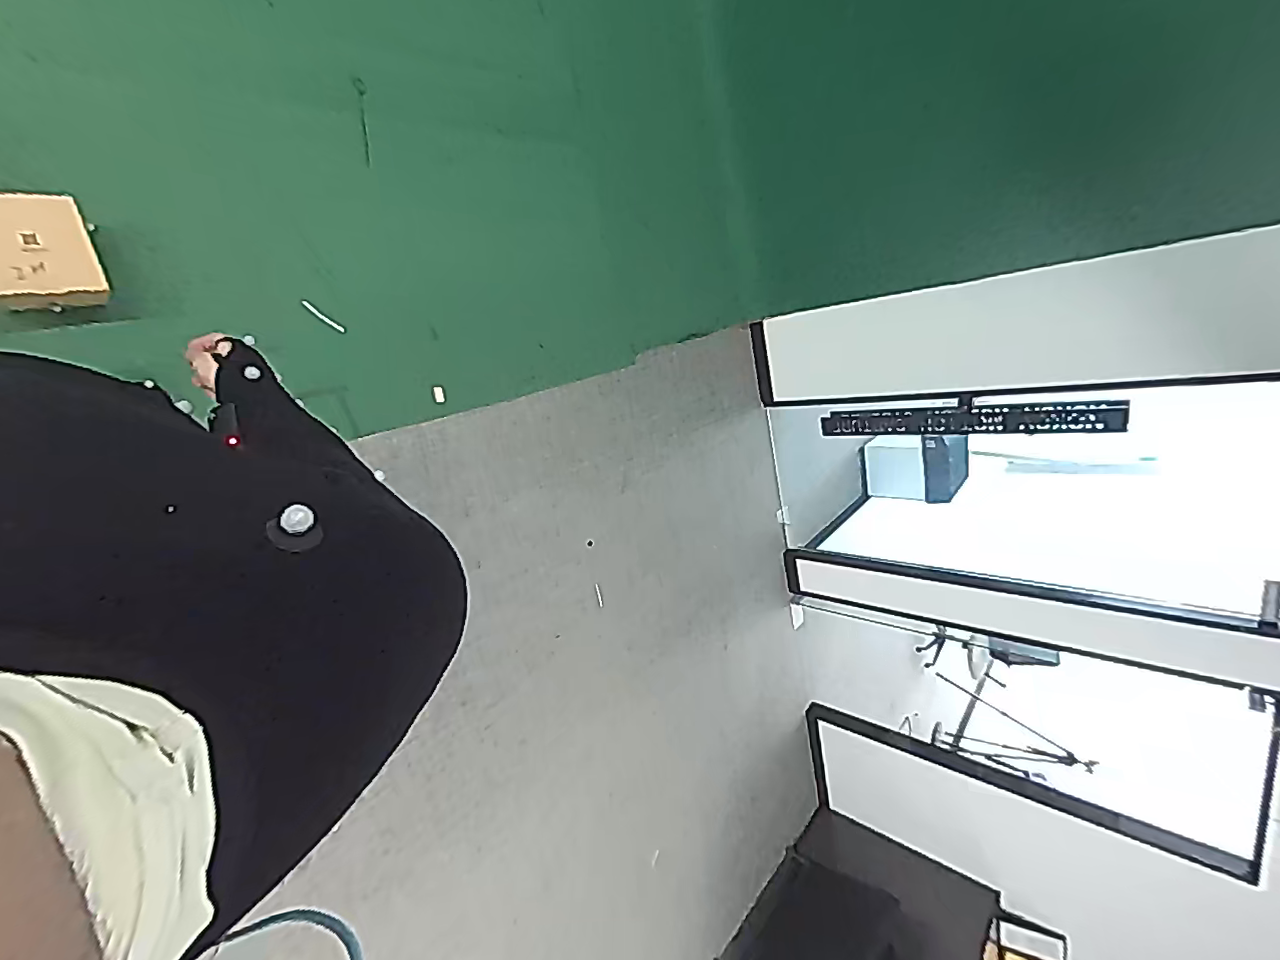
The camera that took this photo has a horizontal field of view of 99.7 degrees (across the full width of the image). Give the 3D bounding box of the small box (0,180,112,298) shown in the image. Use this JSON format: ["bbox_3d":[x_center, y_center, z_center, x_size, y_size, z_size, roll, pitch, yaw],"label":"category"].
[{"bbox_3d":[-1.170,-0.461,1.047,0.168,0.176,0.179,-24,111,-42],"label":"small box"}]
